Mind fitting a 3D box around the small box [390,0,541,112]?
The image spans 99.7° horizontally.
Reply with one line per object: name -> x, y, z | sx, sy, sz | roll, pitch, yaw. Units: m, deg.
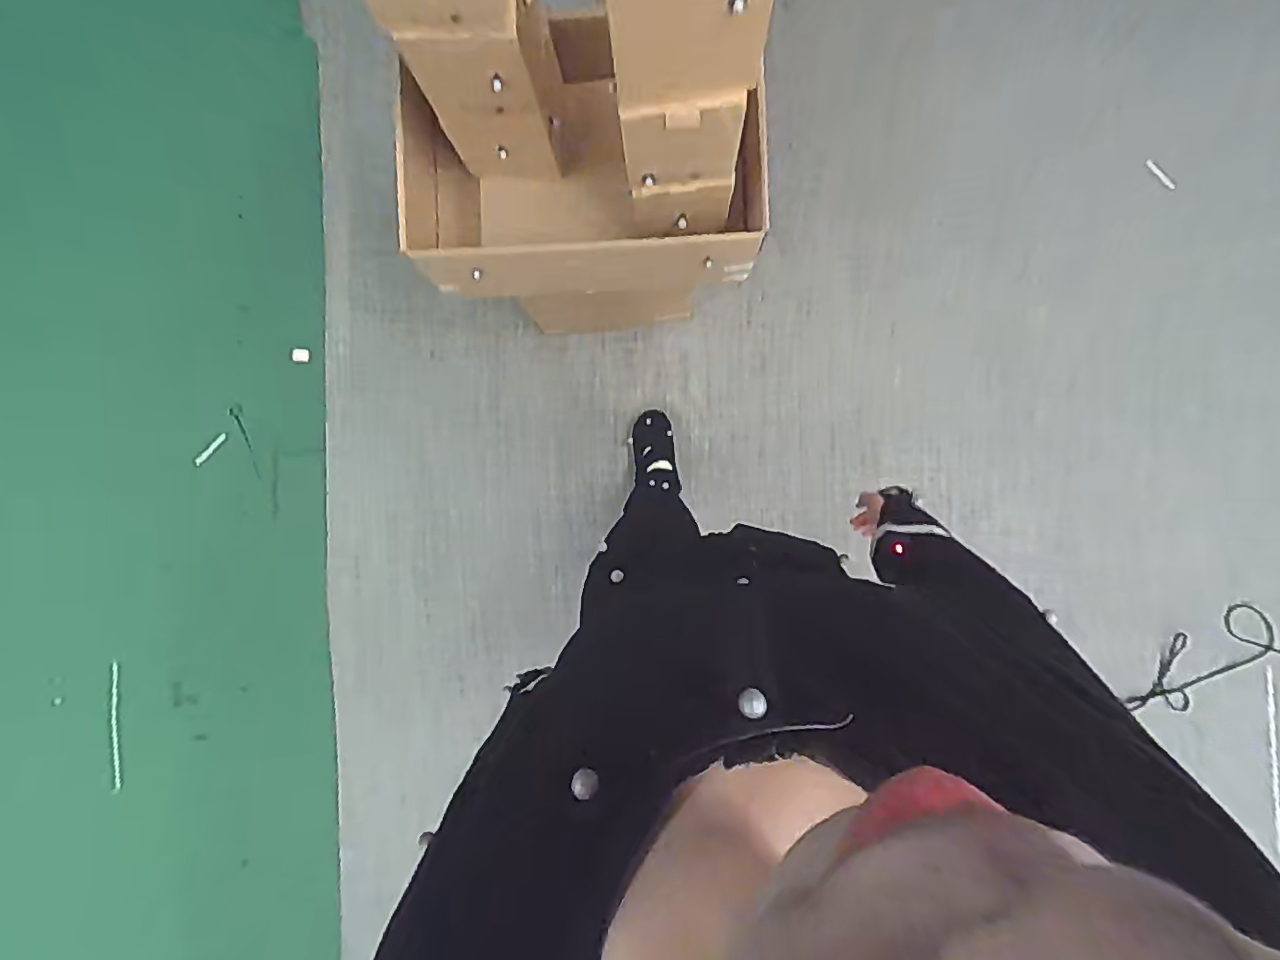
small box -> -0.241, -0.667, 0.781 | 0.168, 0.176, 0.179 | 0, 90, 1

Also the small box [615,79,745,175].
small box -> 0.051, -0.558, 0.765 | 0.168, 0.176, 0.179 | -5, 90, 3

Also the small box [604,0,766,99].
small box -> 0.043, -0.567, 0.603 | 0.179, 0.176, 0.168 | -8, 89, 2

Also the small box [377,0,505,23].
small box -> -0.251, -0.671, 0.616 | 0.168, 0.176, 0.179 | 2, 90, 1
